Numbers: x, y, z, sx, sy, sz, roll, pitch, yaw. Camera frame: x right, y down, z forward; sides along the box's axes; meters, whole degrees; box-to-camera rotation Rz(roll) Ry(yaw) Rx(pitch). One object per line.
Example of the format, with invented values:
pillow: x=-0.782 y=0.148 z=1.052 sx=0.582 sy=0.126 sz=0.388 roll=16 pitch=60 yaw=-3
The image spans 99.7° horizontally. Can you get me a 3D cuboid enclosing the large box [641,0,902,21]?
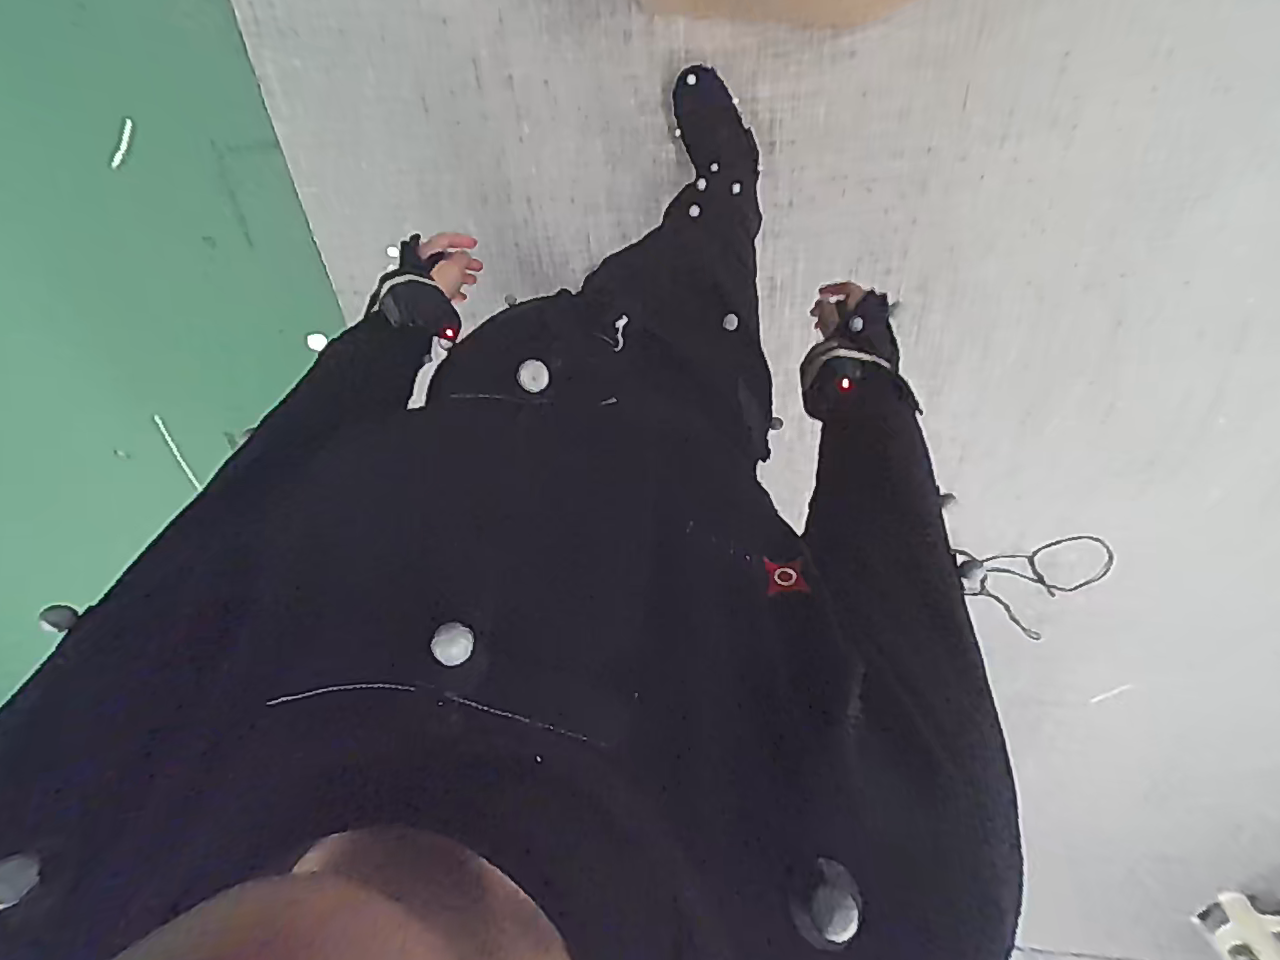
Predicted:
large box: x=0.198 y=-0.852 z=0.735 sx=0.408 sy=0.320 sz=0.320 roll=3 pitch=124 yaw=1
